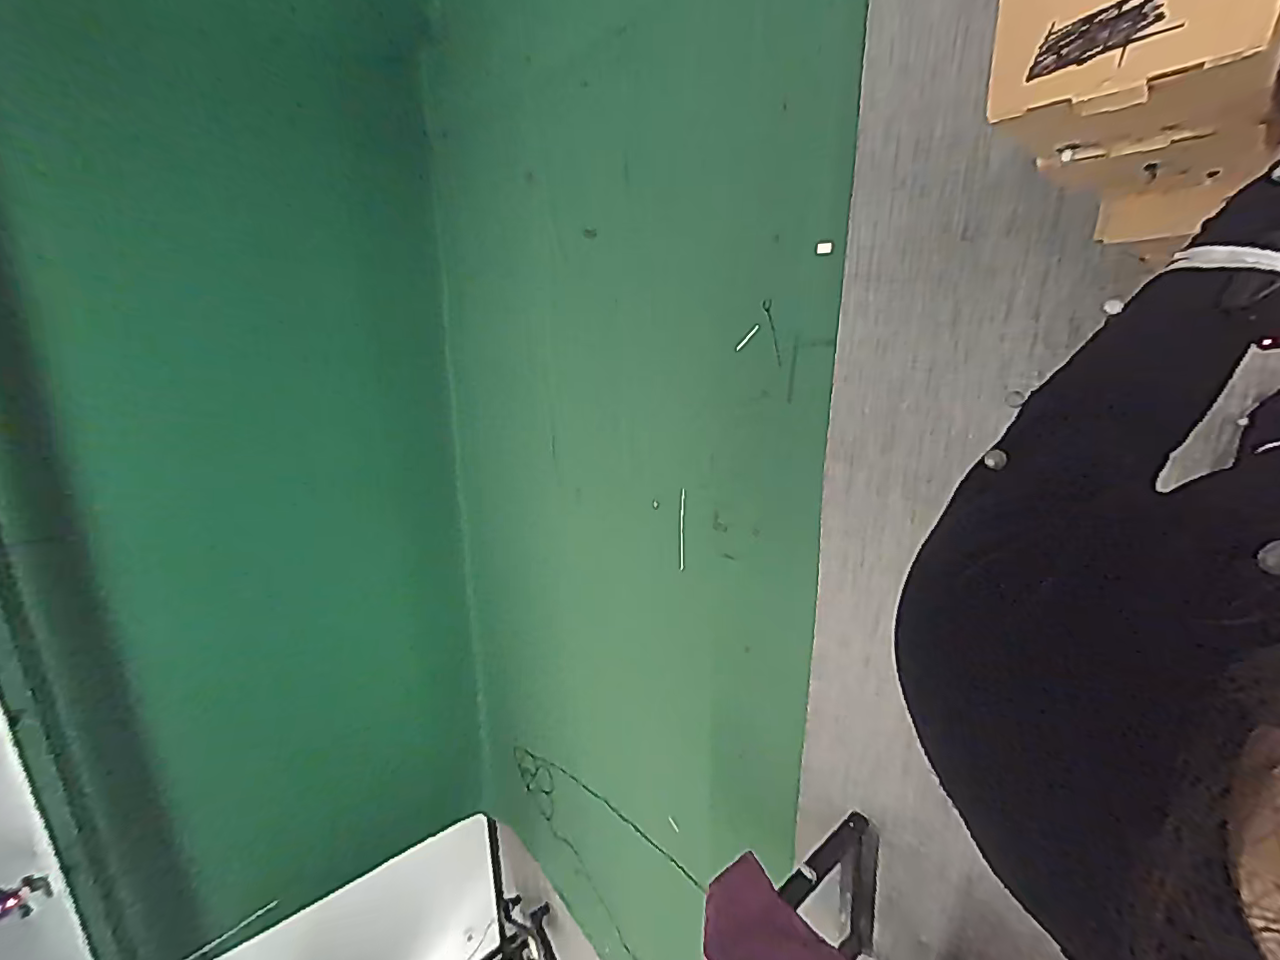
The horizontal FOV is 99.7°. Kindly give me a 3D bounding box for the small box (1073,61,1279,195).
[{"bbox_3d":[0.658,-0.453,0.648,0.168,0.176,0.179,18,113,46],"label":"small box"}]

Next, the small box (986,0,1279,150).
[{"bbox_3d":[0.412,-0.391,0.440,0.168,0.176,0.179,15,110,46],"label":"small box"}]
